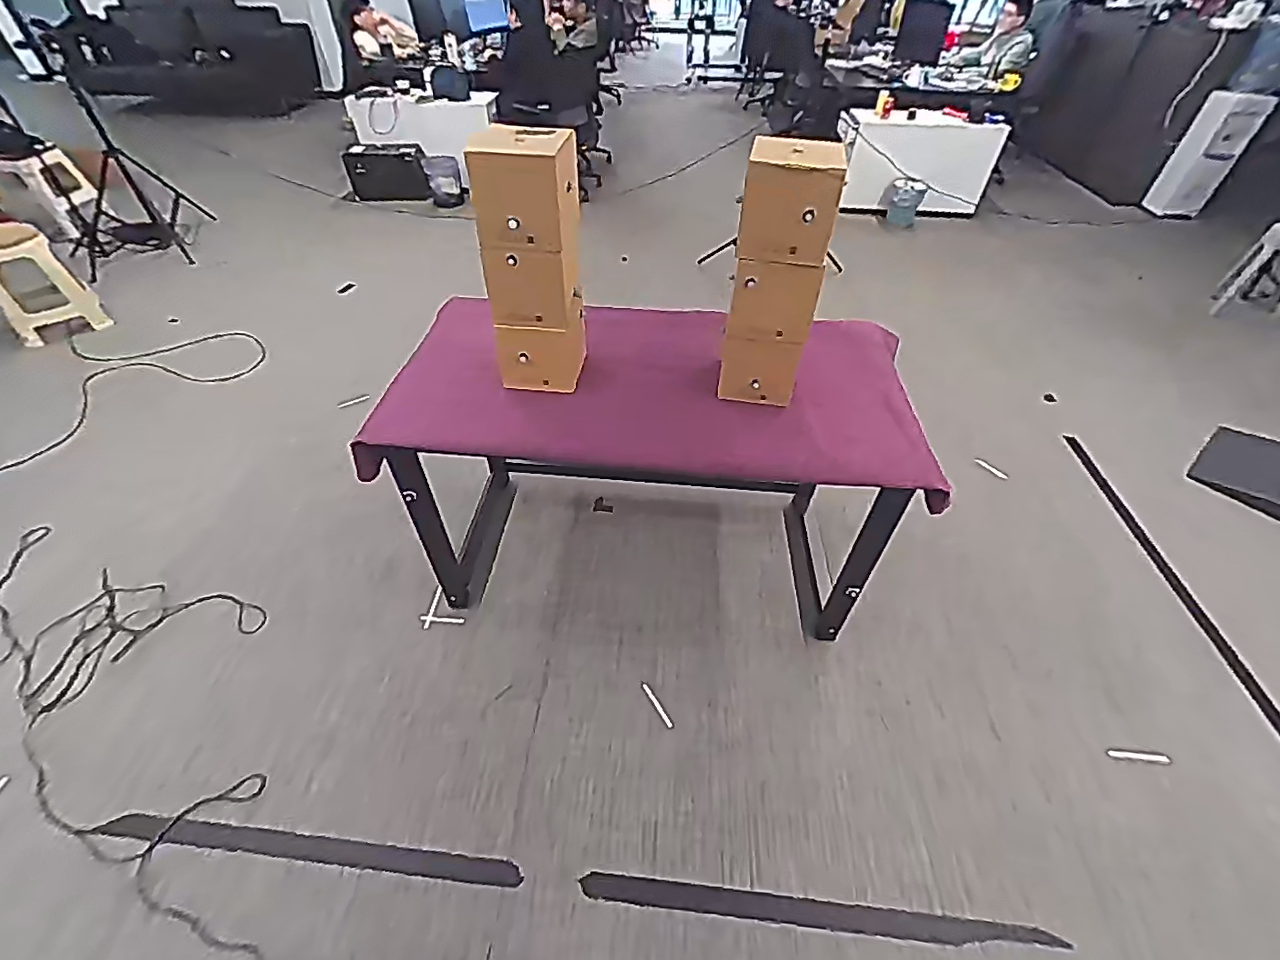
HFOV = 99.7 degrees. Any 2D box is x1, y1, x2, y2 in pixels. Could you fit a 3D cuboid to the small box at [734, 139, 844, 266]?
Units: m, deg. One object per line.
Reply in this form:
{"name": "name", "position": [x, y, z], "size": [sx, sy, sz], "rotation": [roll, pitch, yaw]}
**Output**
{"name": "small box", "position": [0.276, -0.522, 1.020], "size": [0.168, 0.176, 0.179], "rotation": [10, 45, 7]}

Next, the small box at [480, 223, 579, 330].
{"name": "small box", "position": [-0.225, -0.442, 1.158], "size": [0.168, 0.176, 0.179], "rotation": [4, 44, 3]}

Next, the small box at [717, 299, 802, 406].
{"name": "small box", "position": [0.274, -0.296, 1.256], "size": [0.168, 0.176, 0.179], "rotation": [8, 46, 7]}

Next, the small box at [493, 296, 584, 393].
{"name": "small box", "position": [-0.229, -0.322, 1.270], "size": [0.168, 0.176, 0.179], "rotation": [5, 45, 3]}

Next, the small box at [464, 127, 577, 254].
{"name": "small box", "position": [-0.217, -0.556, 1.039], "size": [0.168, 0.176, 0.179], "rotation": [5, 46, 3]}
